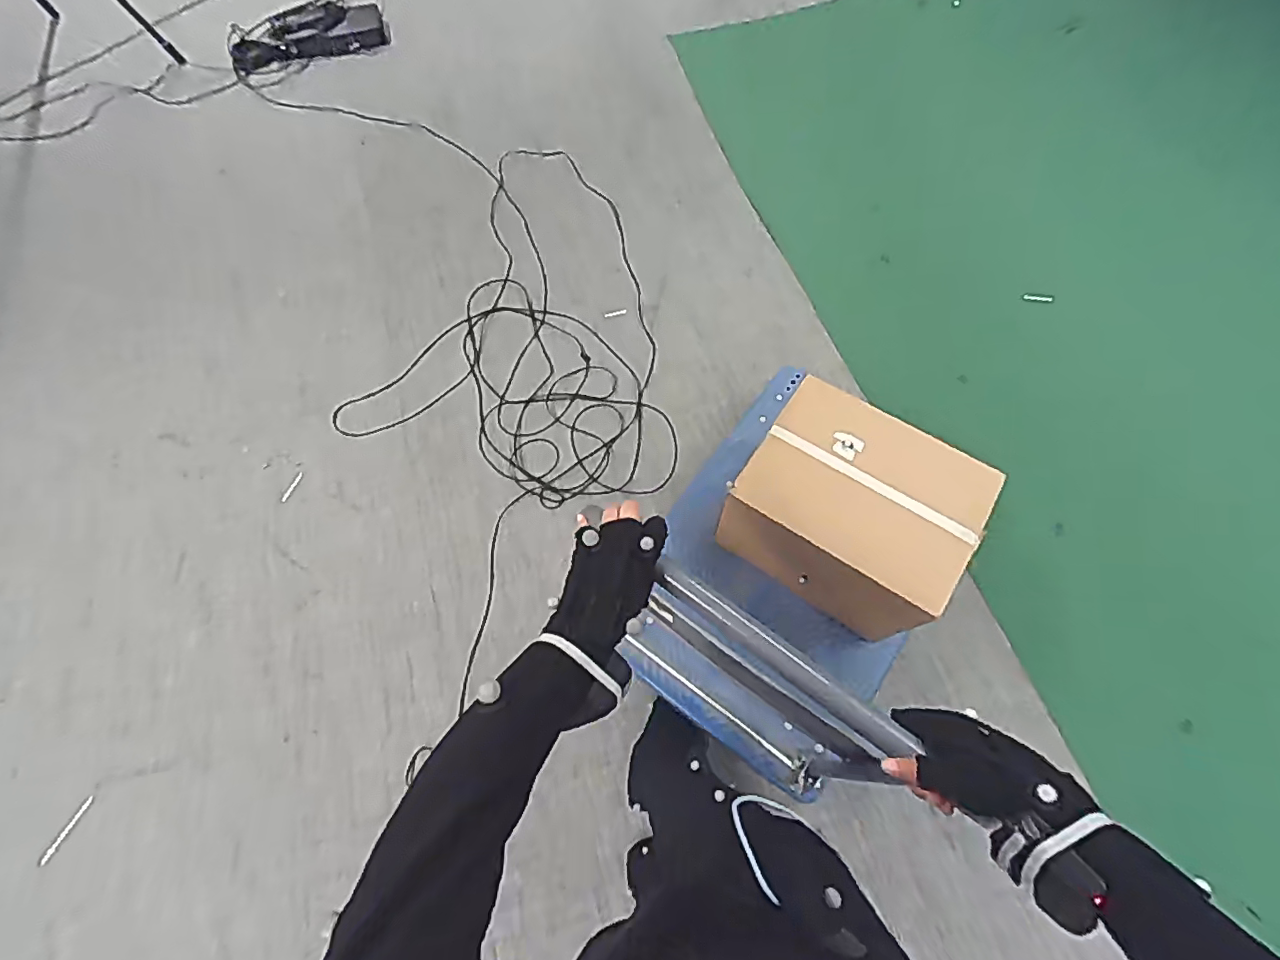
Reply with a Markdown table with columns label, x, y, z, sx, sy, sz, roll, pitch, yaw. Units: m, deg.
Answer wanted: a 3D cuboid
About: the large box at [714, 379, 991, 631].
| label | x | y | z | sx | sy | sz | roll | pitch | yaw |
| --- | --- | --- | --- | --- | --- | --- | --- | --- | --- |
| large box | 0.412 | 0.065 | 1.138 | 0.408 | 0.320 | 0.320 | 31 | 71 | 15 |
